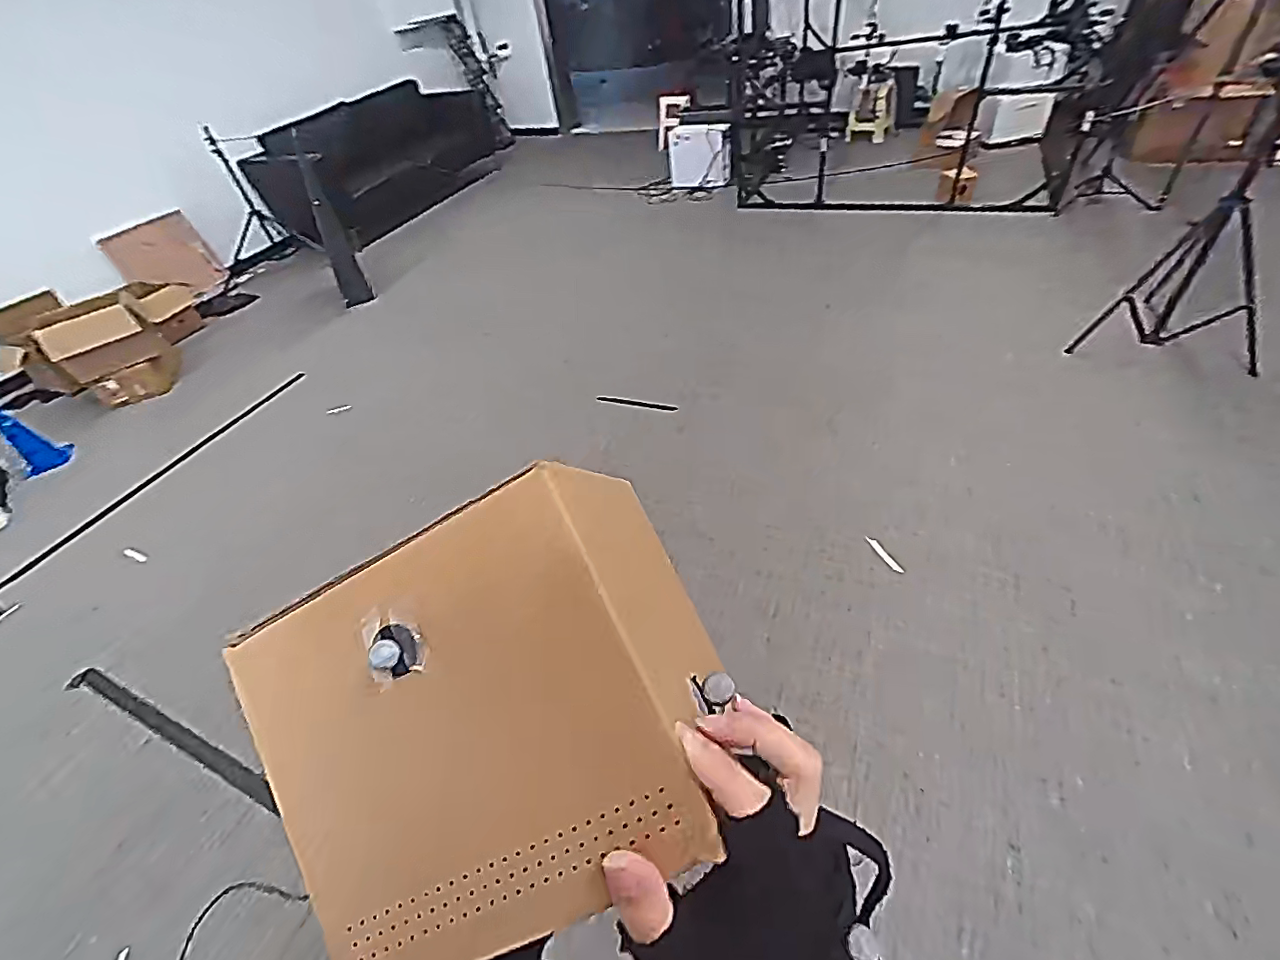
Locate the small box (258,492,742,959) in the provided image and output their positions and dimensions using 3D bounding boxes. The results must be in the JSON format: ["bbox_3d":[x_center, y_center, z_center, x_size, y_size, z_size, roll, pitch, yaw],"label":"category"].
[{"bbox_3d":[-0.061,0.123,0.315,0.179,0.168,0.176,-29,82,10],"label":"small box"}]
